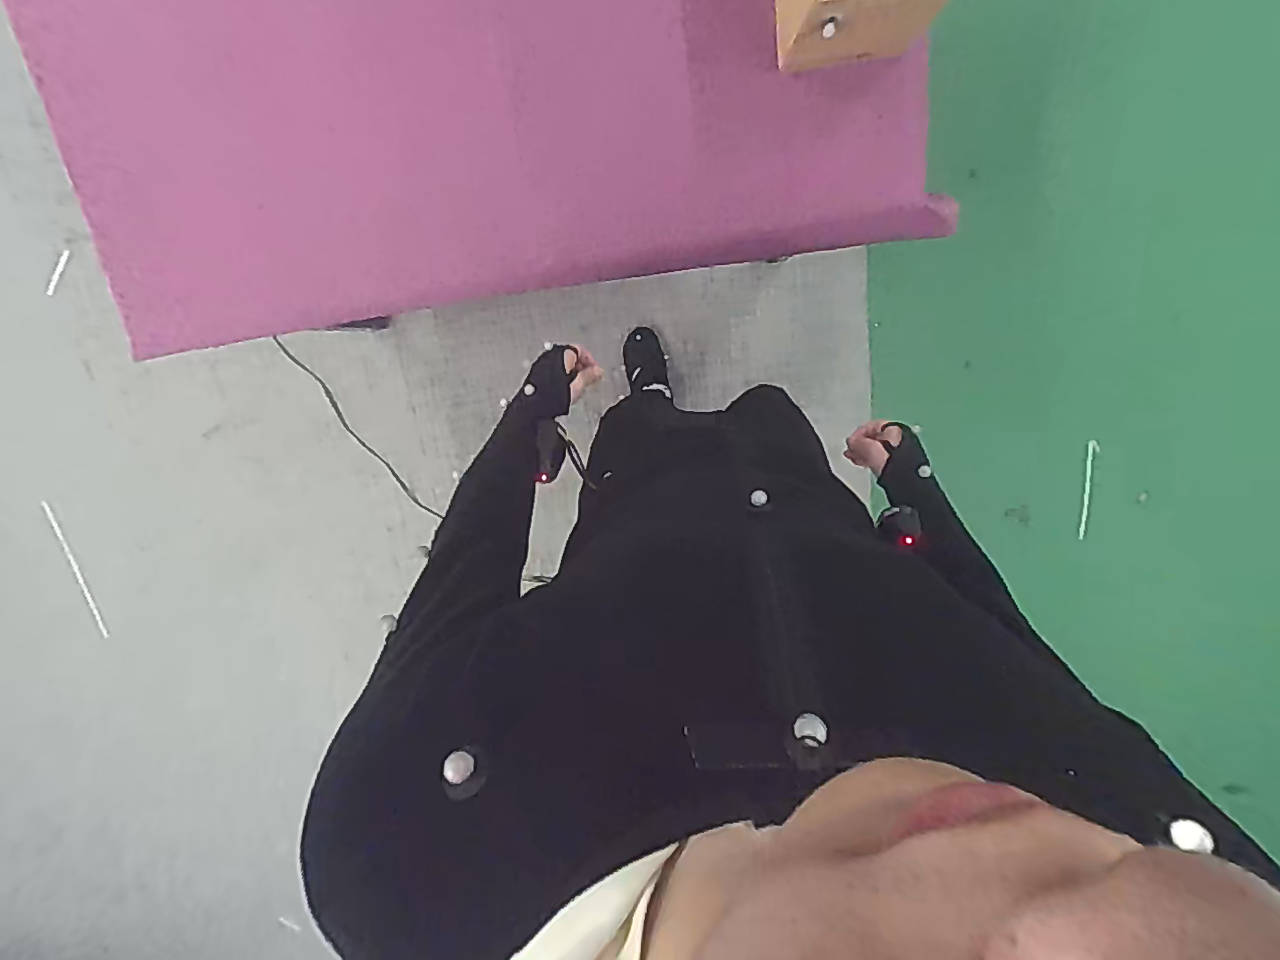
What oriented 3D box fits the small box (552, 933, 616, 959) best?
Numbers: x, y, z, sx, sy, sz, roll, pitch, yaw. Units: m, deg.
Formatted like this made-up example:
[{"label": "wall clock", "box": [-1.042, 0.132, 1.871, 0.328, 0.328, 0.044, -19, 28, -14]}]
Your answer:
[{"label": "small box", "box": [-0.153, 1.389, 1.486, 0.168, 0.176, 0.179, -7, 106, 1]}]
